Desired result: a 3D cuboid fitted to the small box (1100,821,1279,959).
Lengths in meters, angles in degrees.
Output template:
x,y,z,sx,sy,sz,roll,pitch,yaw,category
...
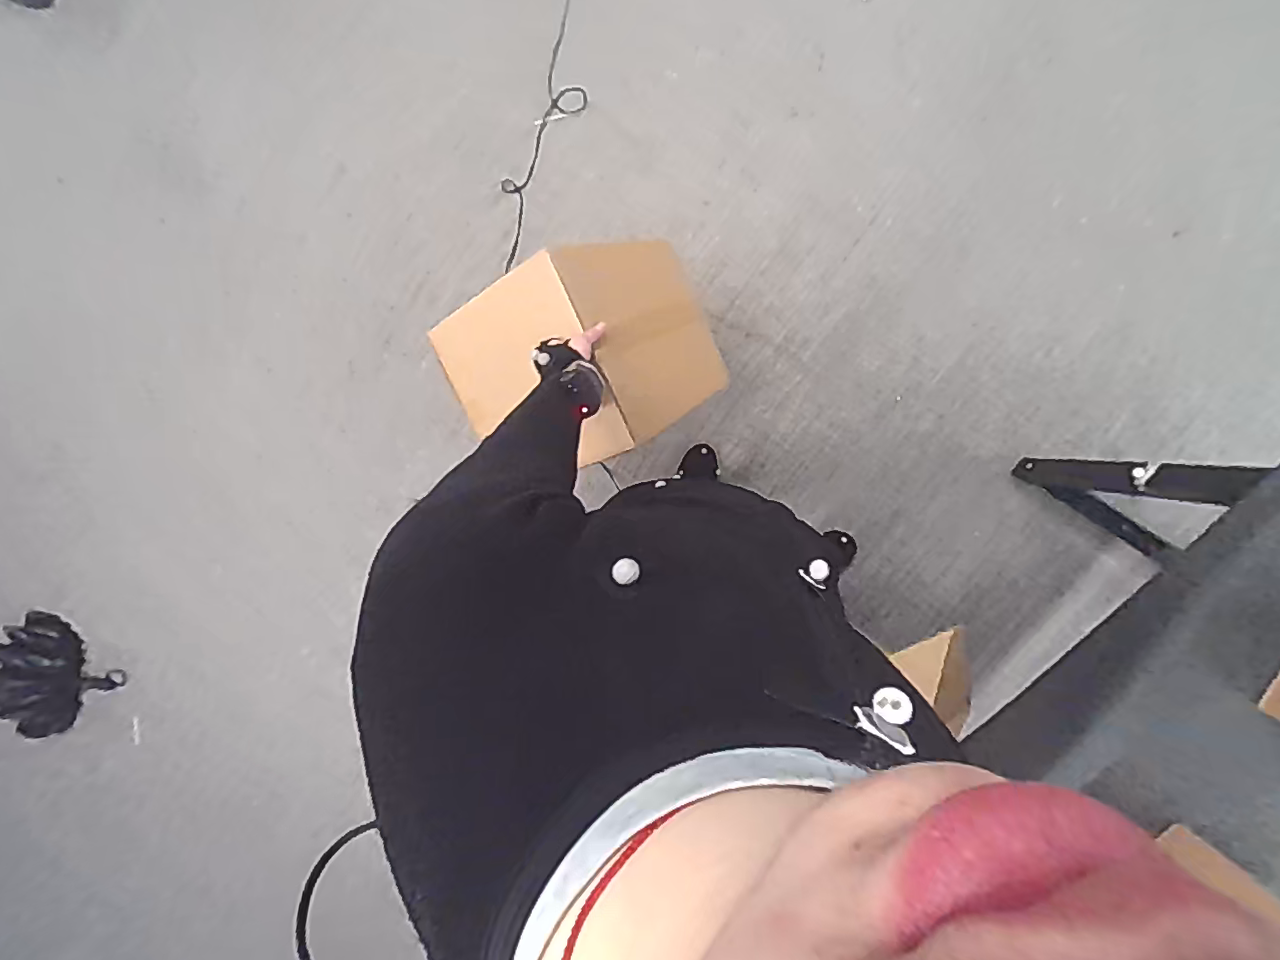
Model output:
x,y,z,sx,sy,sz,roll,pitch,yaw,category
0.755,0.600,0.695,0.168,0.176,0.179,38,99,3,small box
